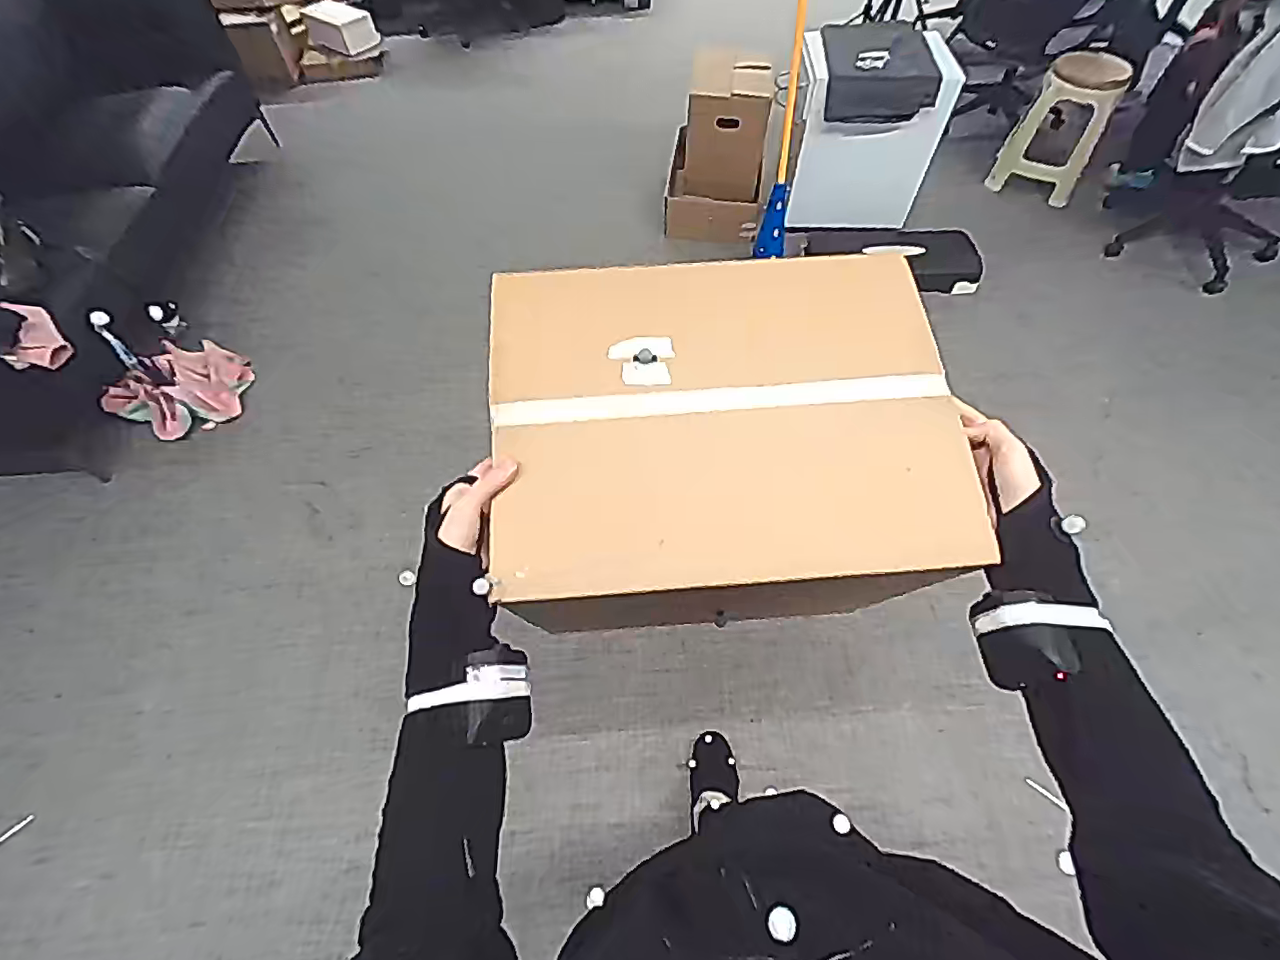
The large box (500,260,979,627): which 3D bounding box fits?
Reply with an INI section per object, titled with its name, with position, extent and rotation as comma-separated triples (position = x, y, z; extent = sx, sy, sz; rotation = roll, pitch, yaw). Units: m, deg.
[large box]
position = 0.075, -0.012, 0.632
extent = 0.408, 0.320, 0.320
rotation = -5, 70, -1
